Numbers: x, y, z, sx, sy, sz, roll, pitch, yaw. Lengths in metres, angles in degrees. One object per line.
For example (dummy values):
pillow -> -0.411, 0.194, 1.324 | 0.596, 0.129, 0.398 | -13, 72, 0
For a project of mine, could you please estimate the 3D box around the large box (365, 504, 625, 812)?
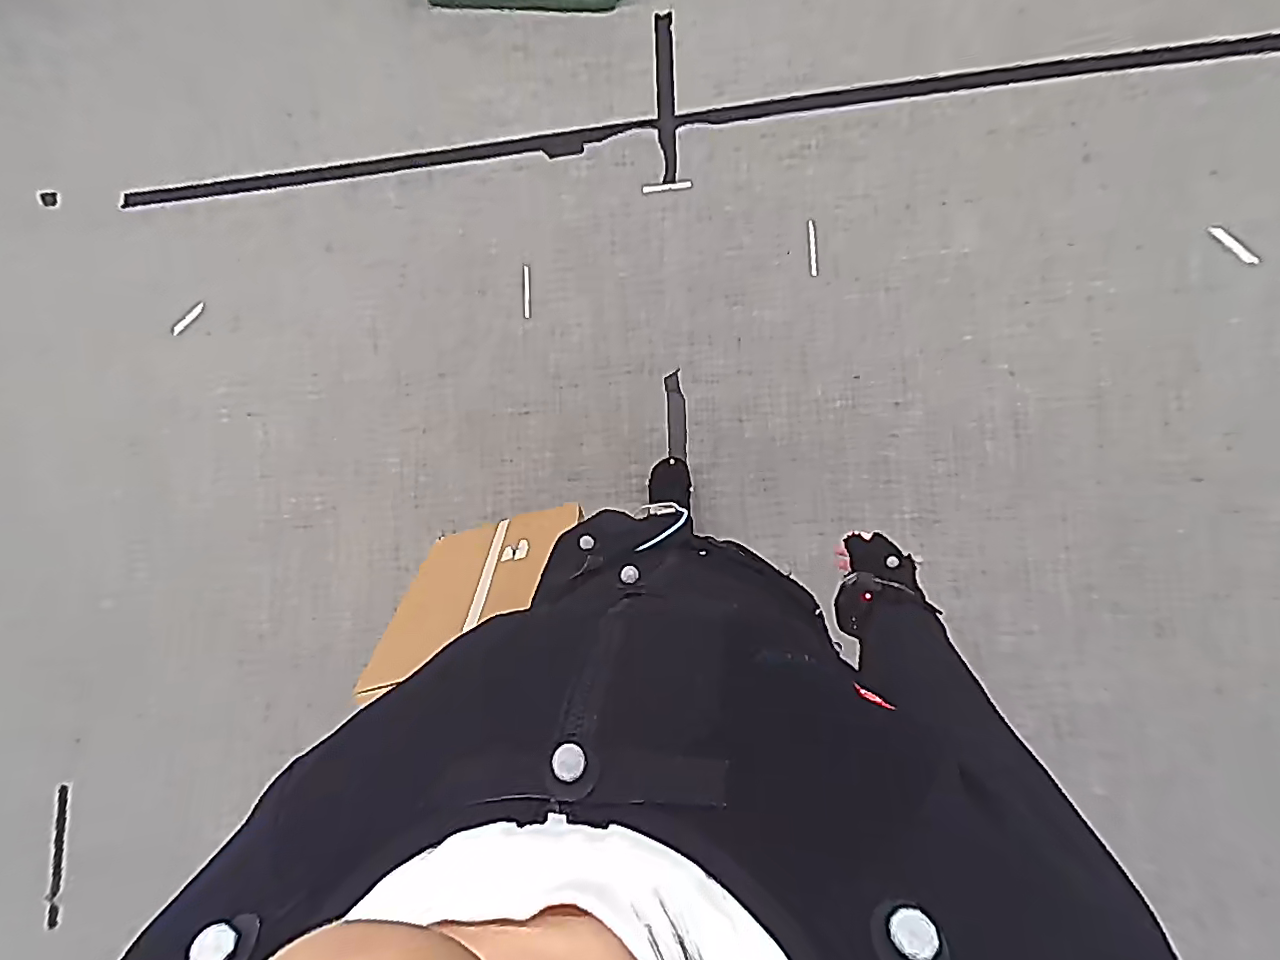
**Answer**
large box -> -0.219, 0.300, 0.992 | 0.320, 0.408, 0.320 | -14, 115, 3
